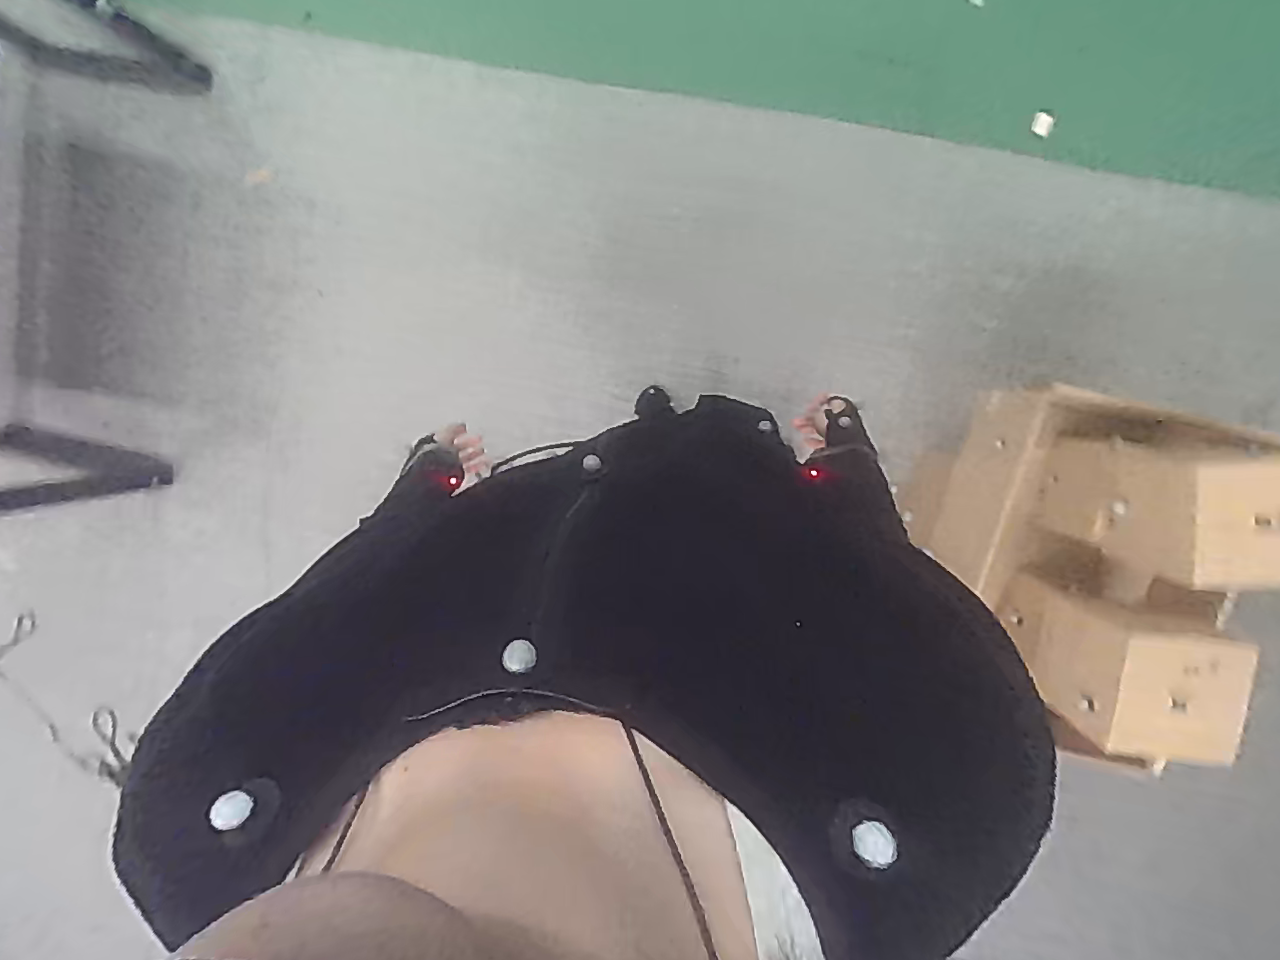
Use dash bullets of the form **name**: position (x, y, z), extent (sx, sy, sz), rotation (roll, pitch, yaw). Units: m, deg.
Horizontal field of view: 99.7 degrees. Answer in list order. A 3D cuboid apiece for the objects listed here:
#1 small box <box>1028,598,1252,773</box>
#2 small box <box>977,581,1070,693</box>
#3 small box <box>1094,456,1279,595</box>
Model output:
- **small box**: position (0.725, 0.296, 0.809), extent (0.168, 0.176, 0.179), rotation (6, 97, 3)
- **small box**: position (0.756, 0.300, 0.973), extent (0.179, 0.176, 0.168), rotation (24, 100, 2)
- **small box**: position (0.805, 0.057, 0.770), extent (0.179, 0.176, 0.168), rotation (-3, 97, 6)
